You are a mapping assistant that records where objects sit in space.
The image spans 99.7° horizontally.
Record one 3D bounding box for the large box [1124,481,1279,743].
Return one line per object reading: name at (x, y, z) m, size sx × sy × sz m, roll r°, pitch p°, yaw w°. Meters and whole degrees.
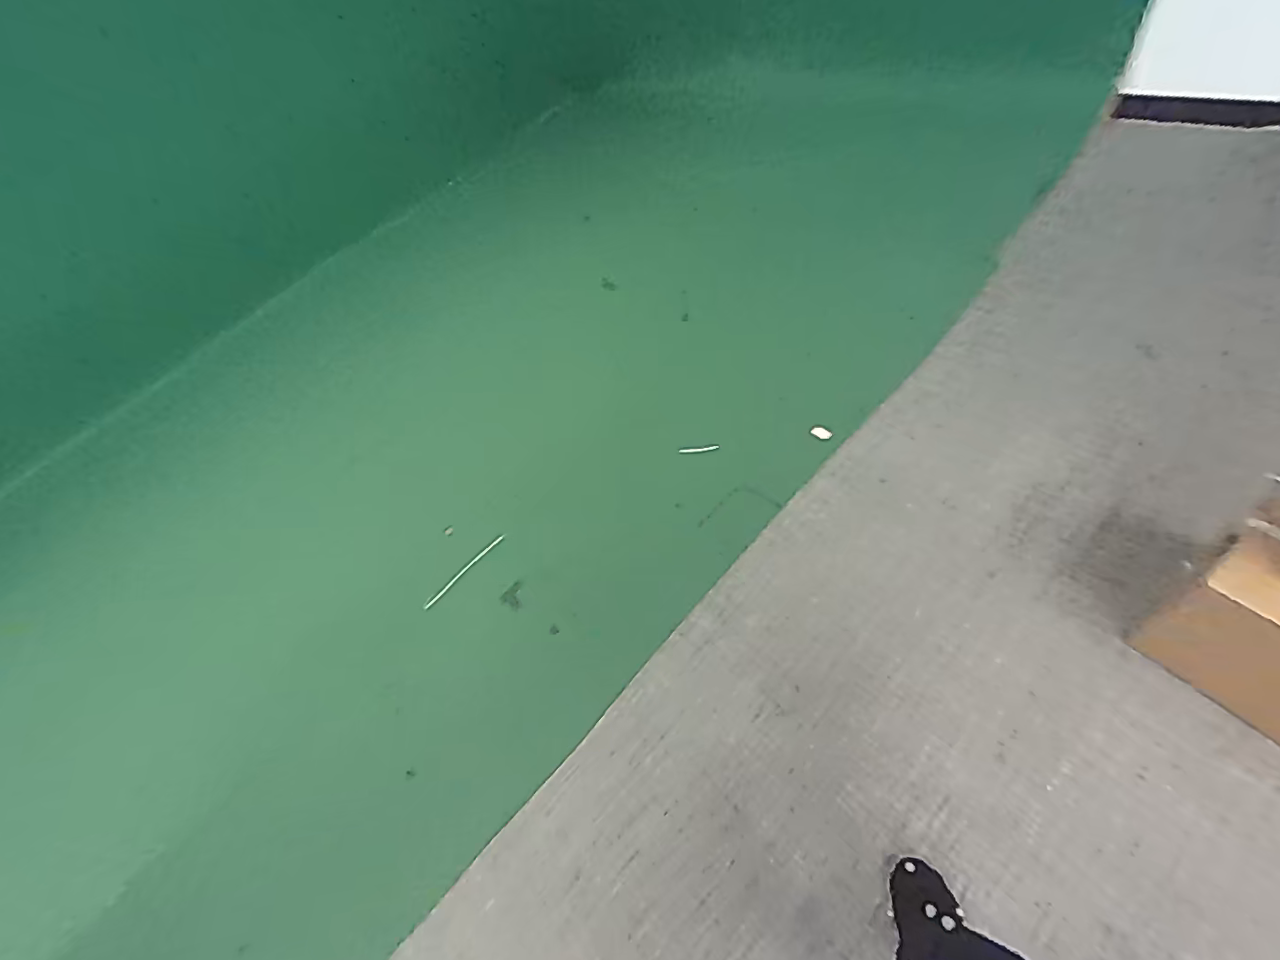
large box at (1.200, 0.270, 0.931) m, size 0.320 × 0.320 × 0.408 m, roll -41°, pitch 54°, yaw -11°
